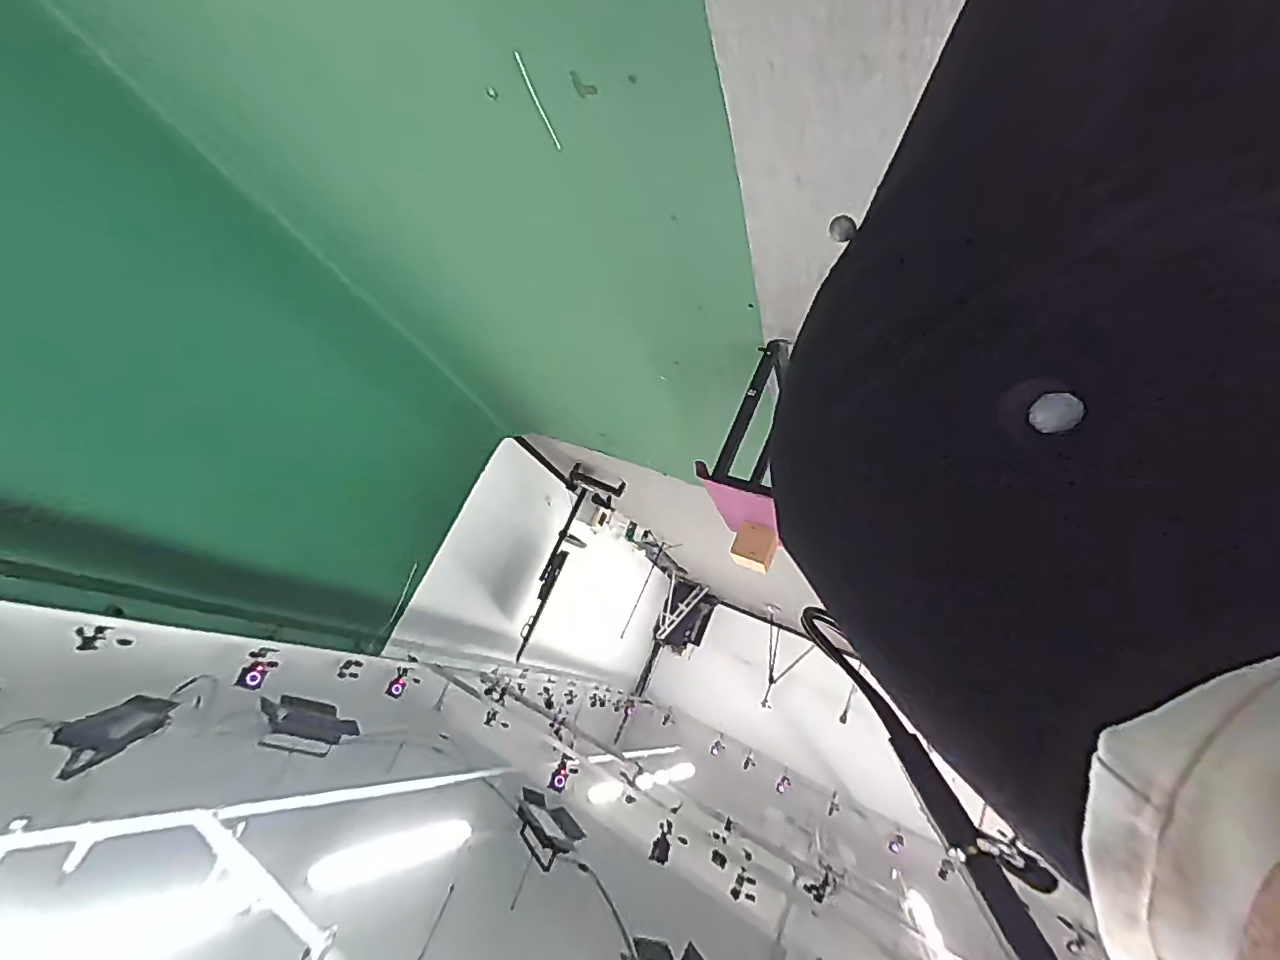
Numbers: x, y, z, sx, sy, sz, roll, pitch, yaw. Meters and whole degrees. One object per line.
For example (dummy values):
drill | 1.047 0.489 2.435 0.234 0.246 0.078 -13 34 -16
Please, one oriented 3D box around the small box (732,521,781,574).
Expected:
small box | 0.539 0.309 2.484 0.168 0.176 0.179 18 164 24
